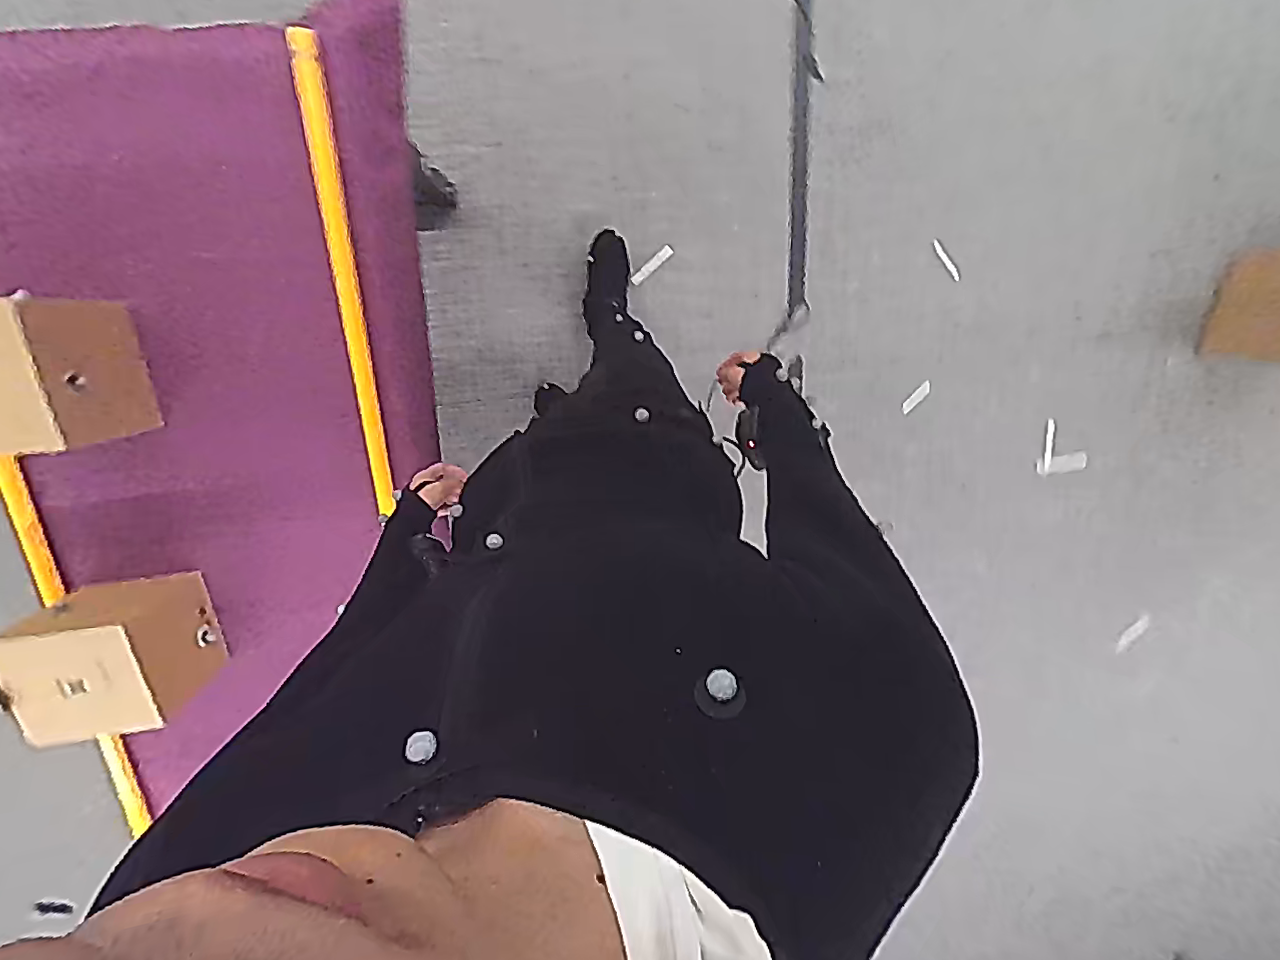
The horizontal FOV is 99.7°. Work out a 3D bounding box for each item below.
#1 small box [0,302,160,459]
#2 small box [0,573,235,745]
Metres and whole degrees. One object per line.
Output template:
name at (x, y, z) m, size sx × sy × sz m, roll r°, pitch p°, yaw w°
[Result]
small box at (-0.774, -0.130, 0.689) m, size 0.168 × 0.176 × 0.179 m, roll -6°, pitch 106°, yaw -6°
small box at (-0.760, 0.255, 0.802) m, size 0.179 × 0.176 × 0.168 m, roll -8°, pitch 107°, yaw -5°
